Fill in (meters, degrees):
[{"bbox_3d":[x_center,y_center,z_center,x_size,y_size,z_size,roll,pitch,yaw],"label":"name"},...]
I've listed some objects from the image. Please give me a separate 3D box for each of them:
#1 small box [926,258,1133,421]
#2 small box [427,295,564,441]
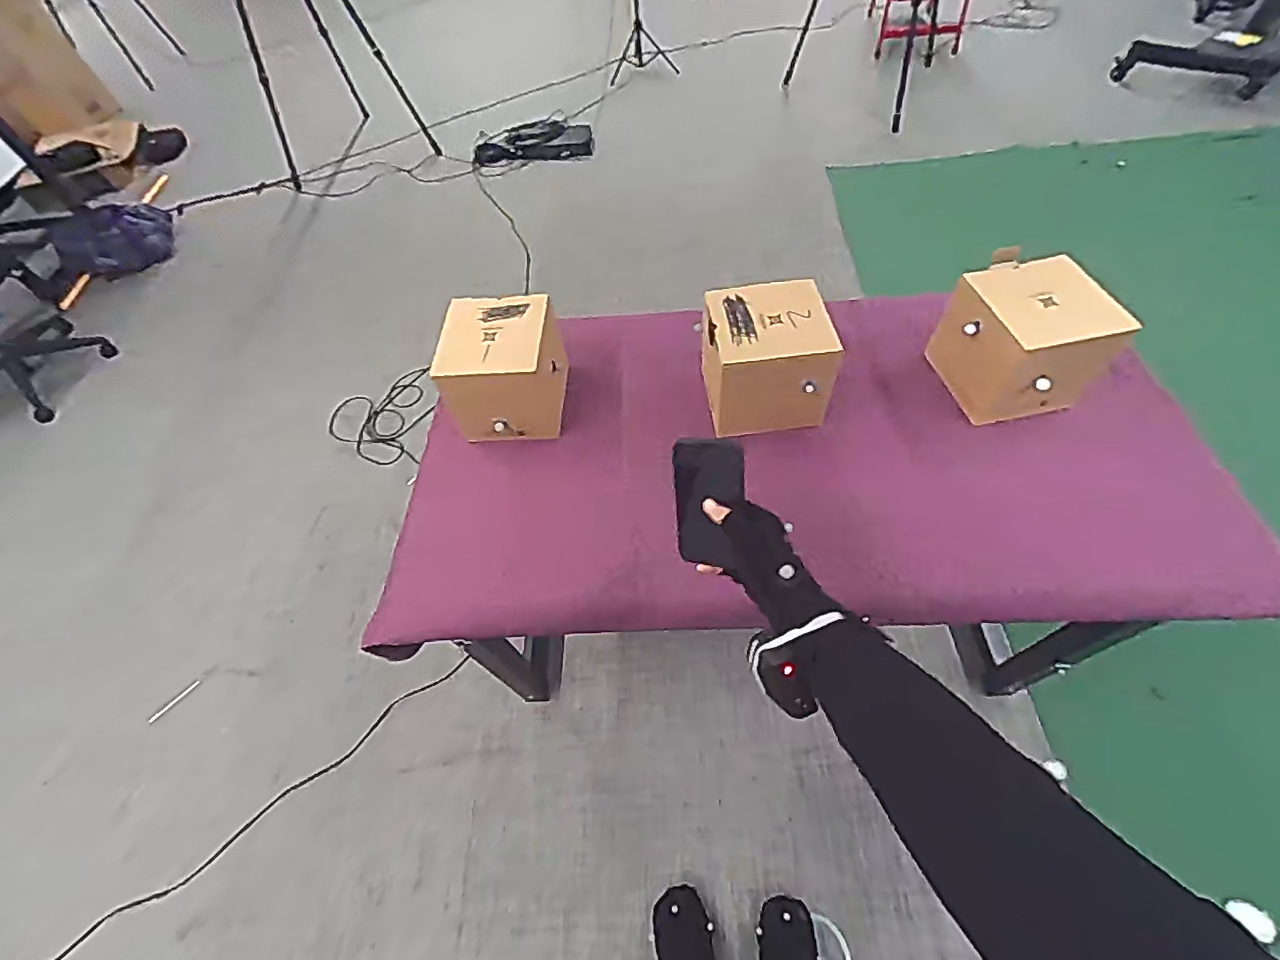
[{"bbox_3d":[0.585,-0.209,0.842,0.168,0.176,0.179,-11,55,-1],"label":"small box"},{"bbox_3d":[-0.226,-0.183,0.904,0.168,0.176,0.179,-1,58,5],"label":"small box"}]
